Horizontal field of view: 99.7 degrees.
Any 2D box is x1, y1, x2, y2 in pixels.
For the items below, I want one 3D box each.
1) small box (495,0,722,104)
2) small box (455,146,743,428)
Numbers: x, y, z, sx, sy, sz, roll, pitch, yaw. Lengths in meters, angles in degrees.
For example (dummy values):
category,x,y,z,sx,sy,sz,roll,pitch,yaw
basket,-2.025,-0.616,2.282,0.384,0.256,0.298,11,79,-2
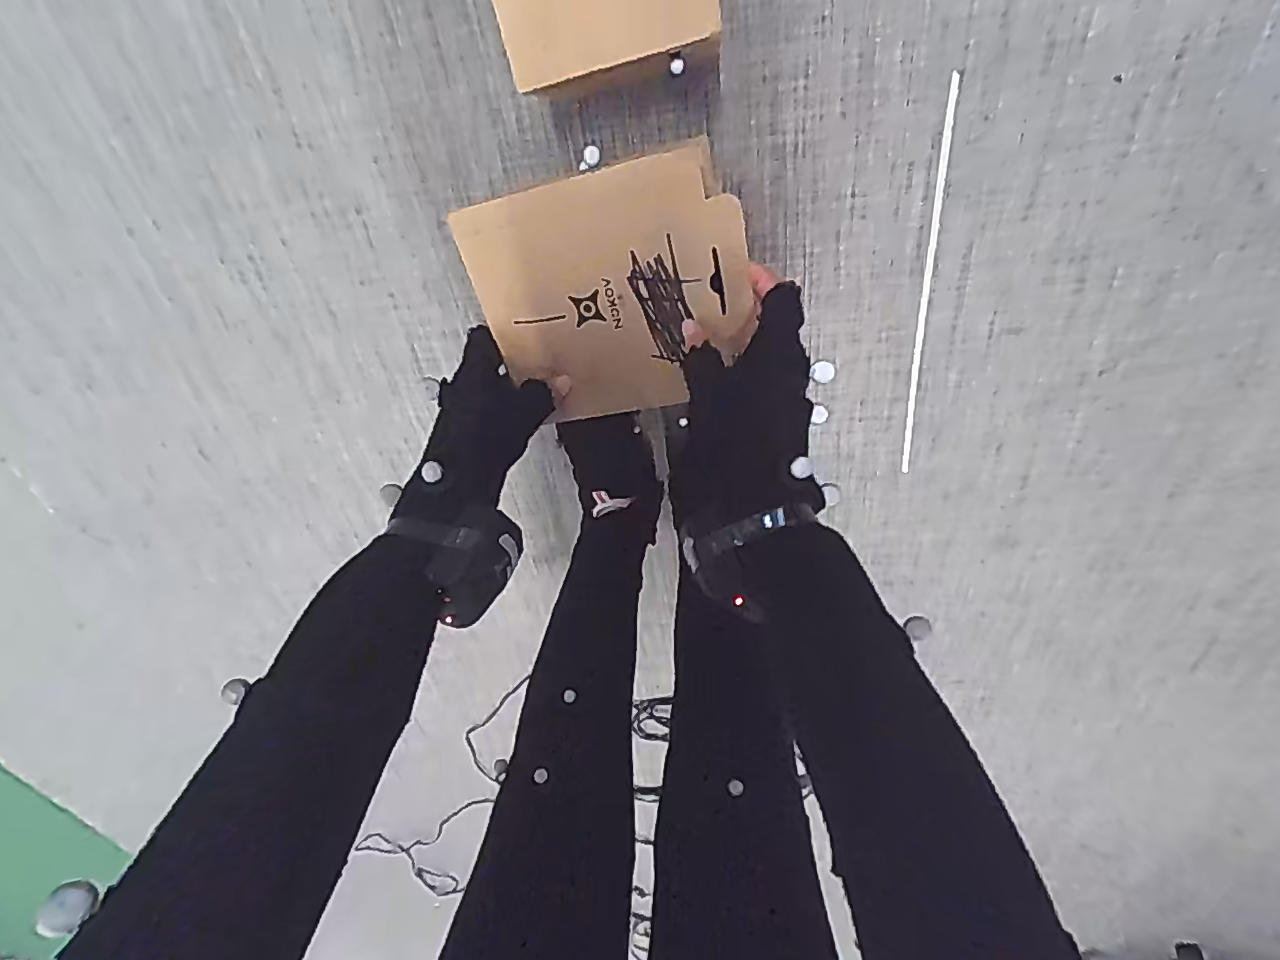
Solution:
category,x,y,z,sx,sy,sz,roll,pitch,yaw
small box,-0.026,-0.446,0.469,0.179,0.176,0.168,-8,121,12
small box,-0.015,-0.164,0.450,0.179,0.176,0.168,-8,121,14
